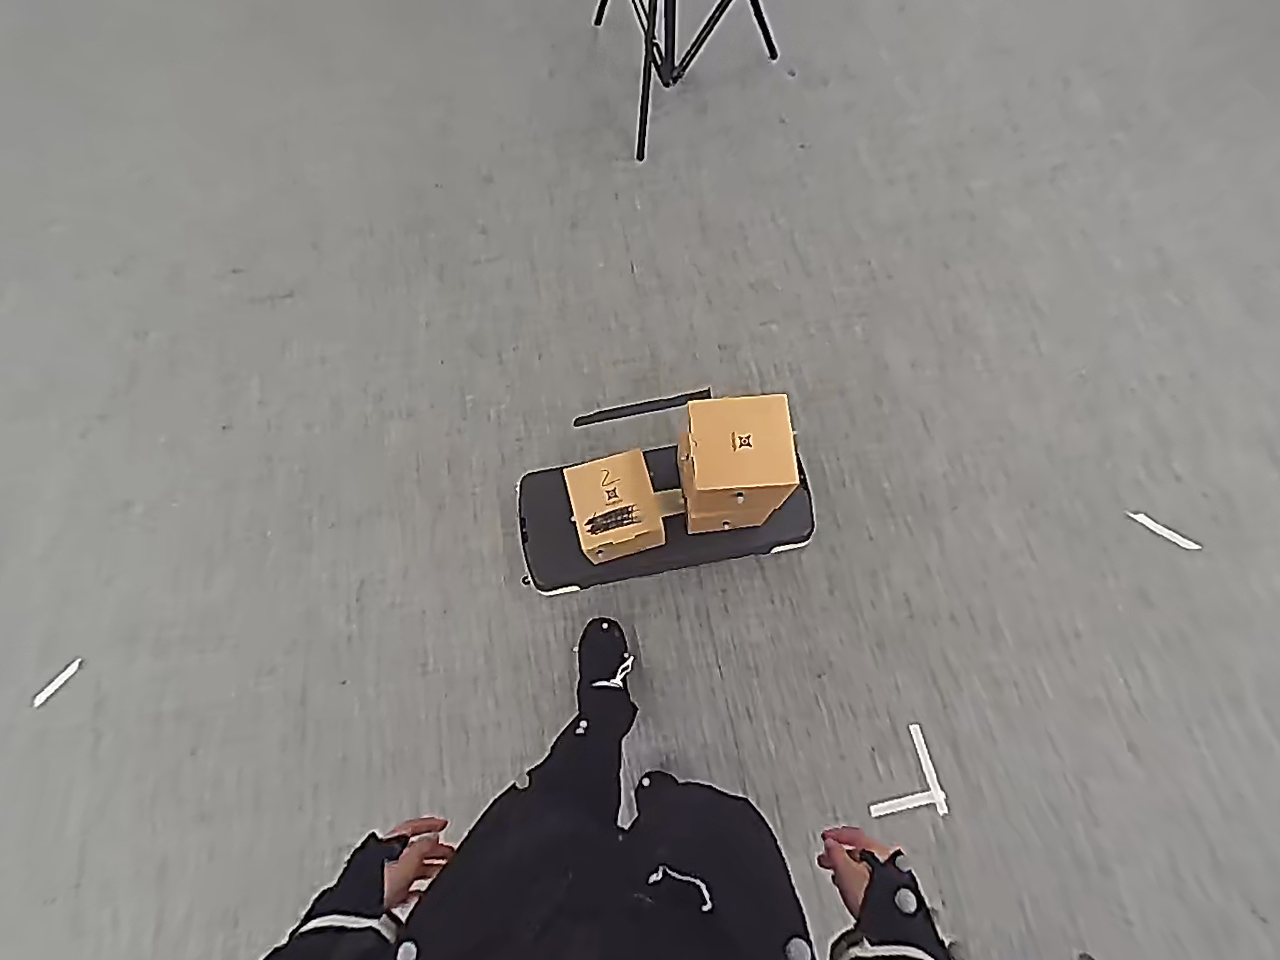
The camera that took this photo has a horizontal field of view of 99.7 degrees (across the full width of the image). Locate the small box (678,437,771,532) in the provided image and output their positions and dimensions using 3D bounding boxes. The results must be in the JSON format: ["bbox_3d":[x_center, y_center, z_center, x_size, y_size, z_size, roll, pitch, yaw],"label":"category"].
[{"bbox_3d":[0.172,0.009,1.148,0.168,0.176,0.179,-7,73,1],"label":"small box"}]

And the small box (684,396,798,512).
[{"bbox_3d":[0.176,-0.040,0.992,0.179,0.176,0.168,-4,74,2],"label":"small box"}]
